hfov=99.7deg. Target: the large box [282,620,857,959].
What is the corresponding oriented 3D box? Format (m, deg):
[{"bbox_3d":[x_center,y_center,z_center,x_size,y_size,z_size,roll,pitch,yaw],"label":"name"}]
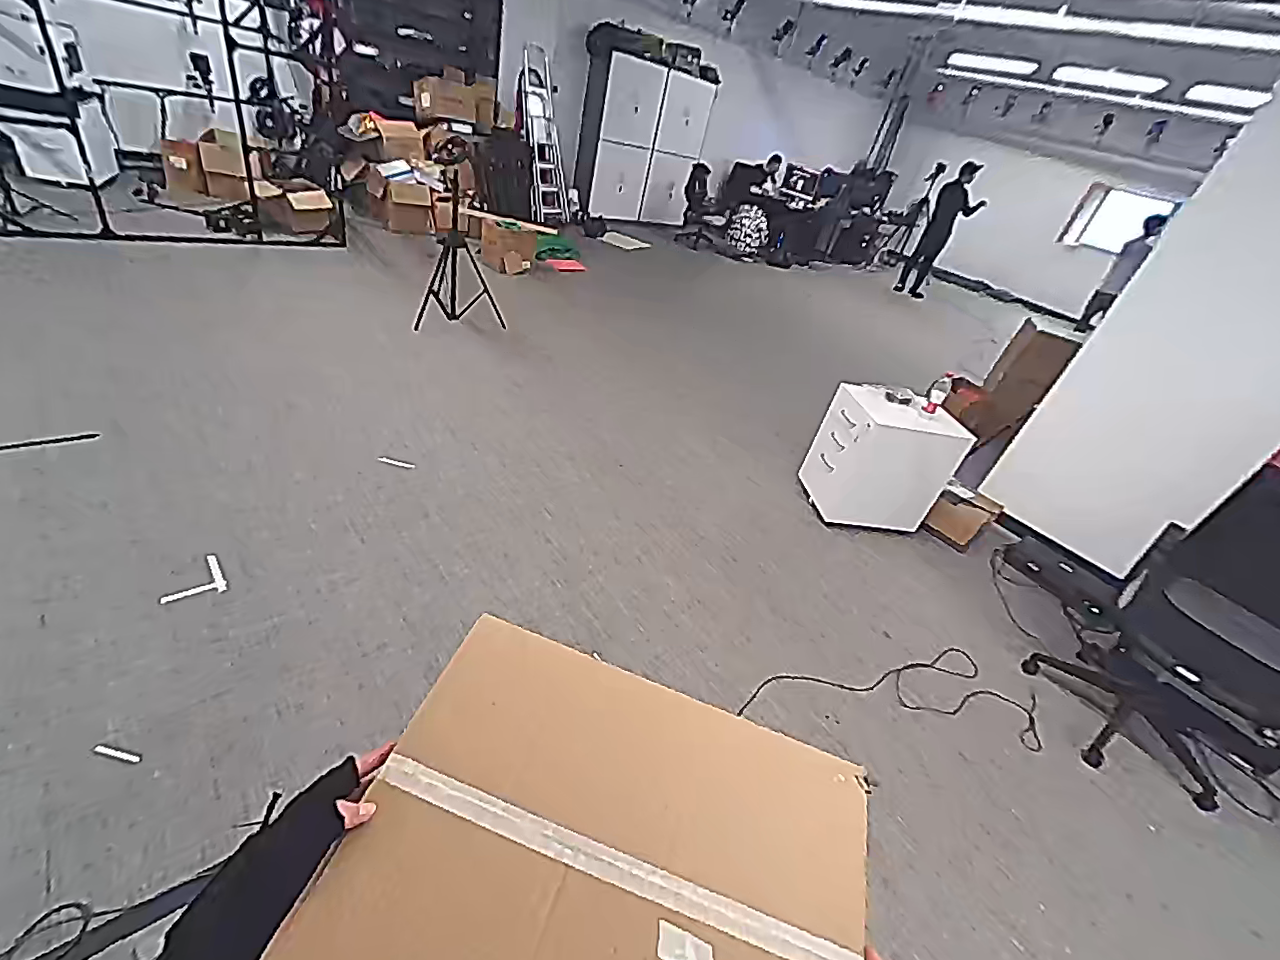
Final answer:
[{"bbox_3d":[-0.047,0.411,0.543,0.408,0.320,0.320,21,44,6],"label":"large box"}]
